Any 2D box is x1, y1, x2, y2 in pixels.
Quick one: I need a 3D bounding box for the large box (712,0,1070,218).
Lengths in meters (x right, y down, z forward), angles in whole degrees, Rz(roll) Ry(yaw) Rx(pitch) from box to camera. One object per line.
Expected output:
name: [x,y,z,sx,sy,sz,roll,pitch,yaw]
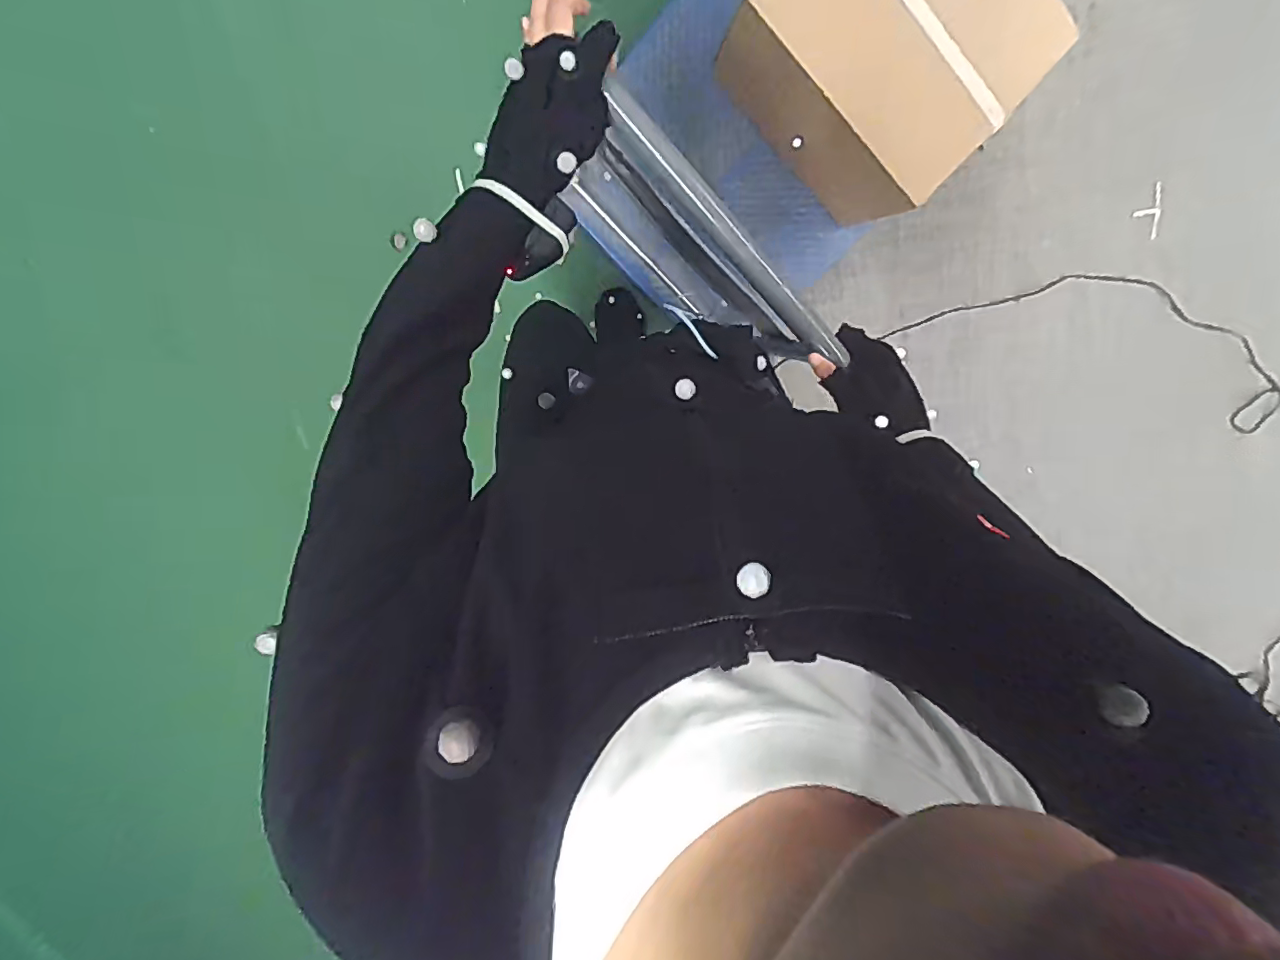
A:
large box: [0.387,-0.727,0.925,0.408,0.320,0.320,40,103,-15]
